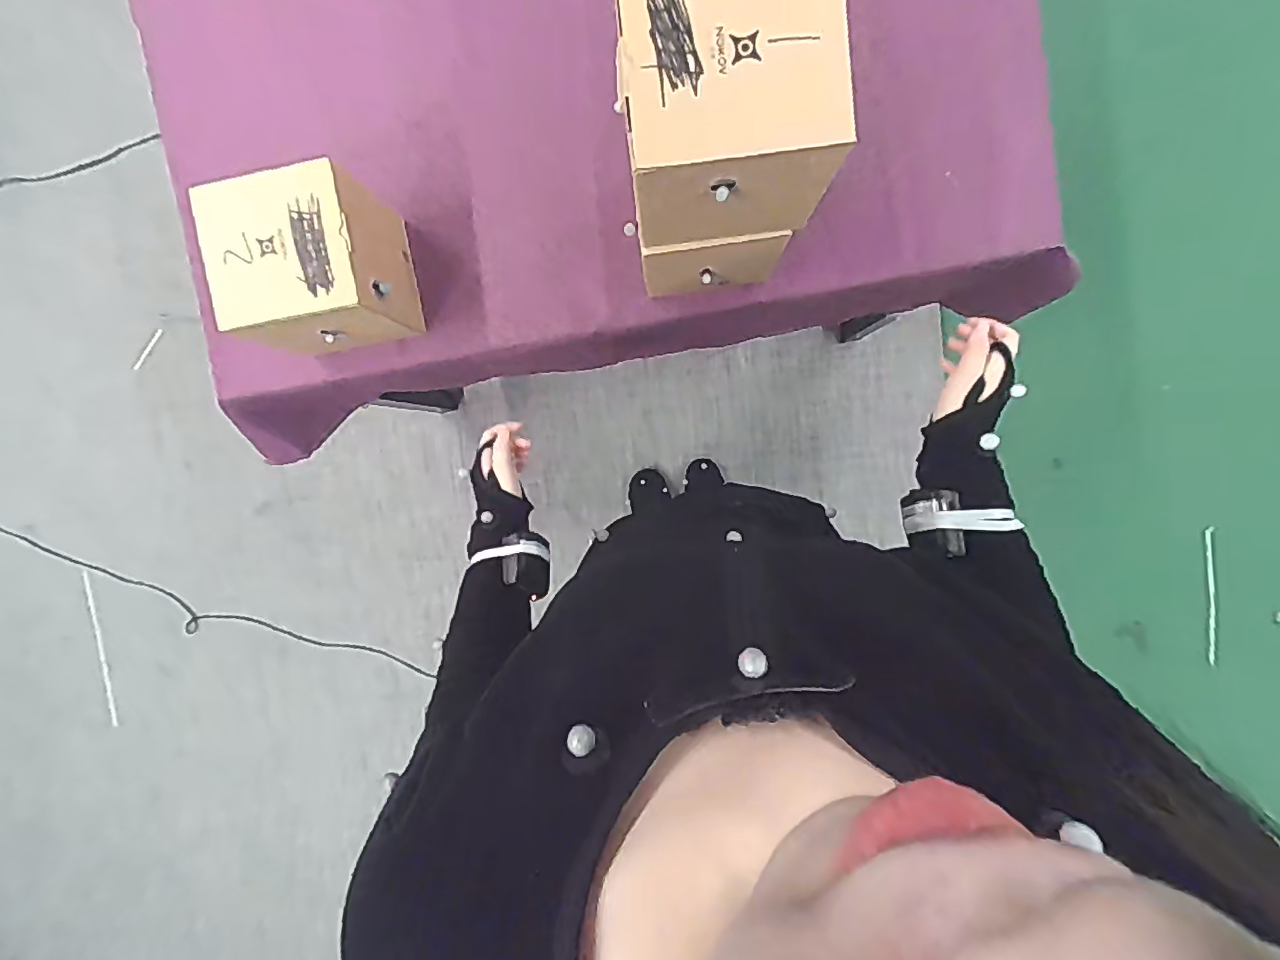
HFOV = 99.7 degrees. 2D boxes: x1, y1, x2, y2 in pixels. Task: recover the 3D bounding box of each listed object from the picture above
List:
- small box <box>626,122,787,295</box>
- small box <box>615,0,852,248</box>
[{"bbox_3d":[0.078,-0.339,0.668,0.168,0.176,0.179,-6,93,3],"label":"small box"},{"bbox_3d":[0.077,-0.332,0.503,0.179,0.176,0.168,-6,94,2],"label":"small box"}]
